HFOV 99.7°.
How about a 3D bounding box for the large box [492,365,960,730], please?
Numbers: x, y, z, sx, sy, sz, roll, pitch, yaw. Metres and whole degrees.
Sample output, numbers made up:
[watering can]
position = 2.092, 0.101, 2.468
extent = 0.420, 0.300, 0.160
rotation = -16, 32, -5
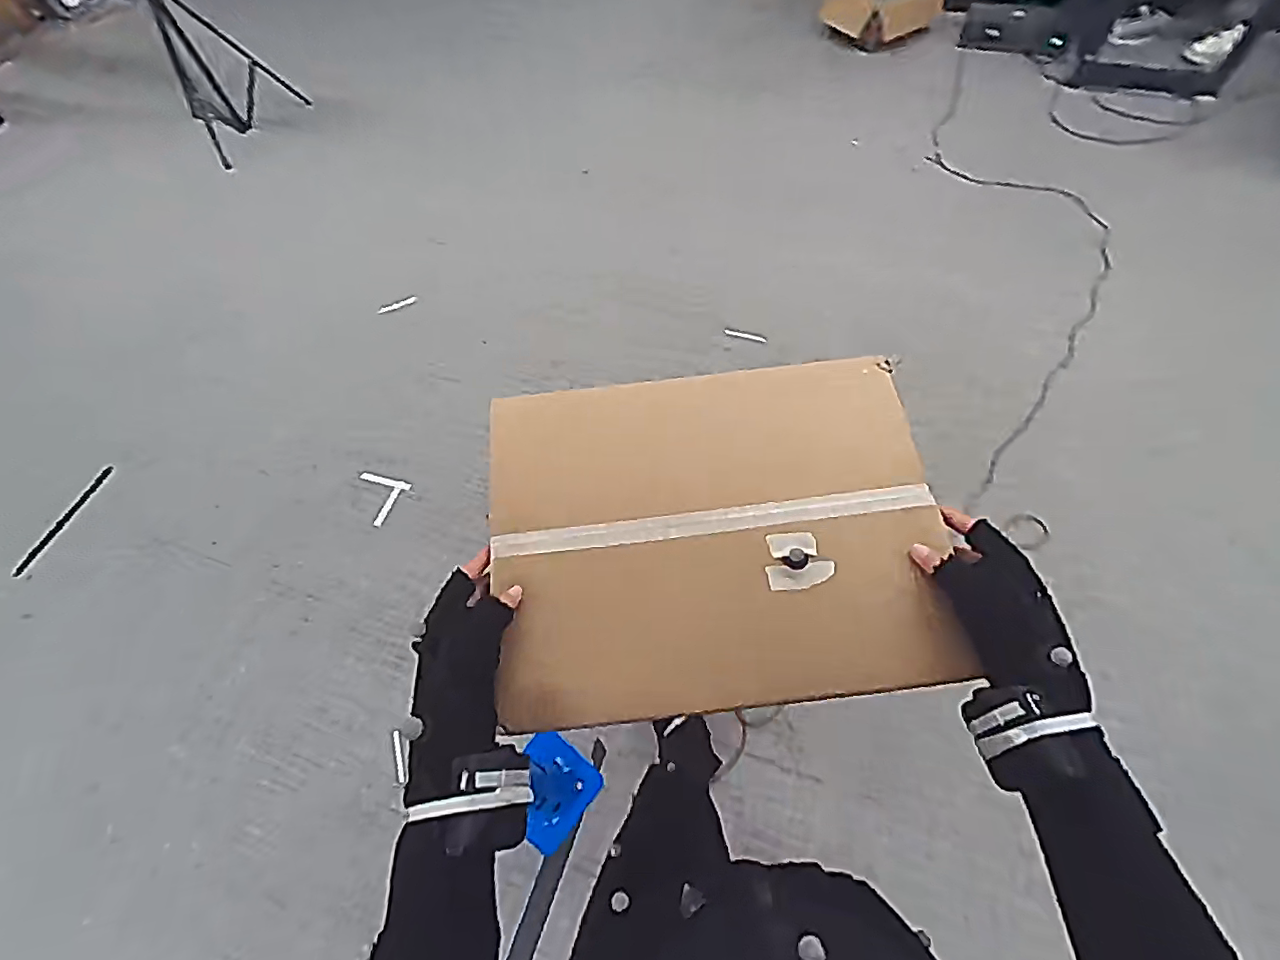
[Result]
[large box]
position = 0.064, 0.102, 0.651
extent = 0.408, 0.320, 0.320
rotation = -8, 67, -1

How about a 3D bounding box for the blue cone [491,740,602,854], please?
[blue cone]
position = -0.221, 0.651, 1.117
extent = 0.193, 0.380, 0.192
rotation = 35, 70, 23
